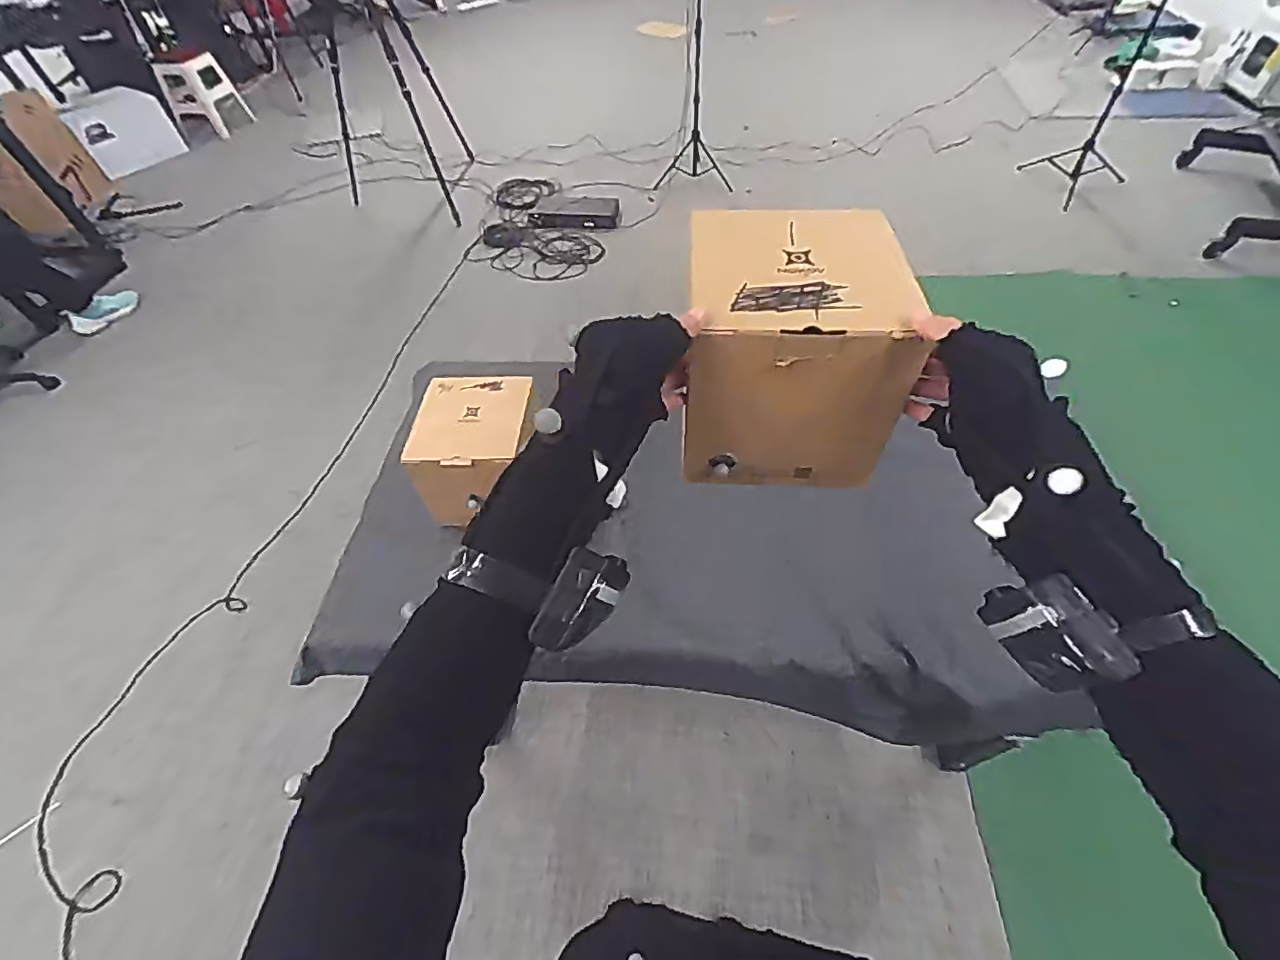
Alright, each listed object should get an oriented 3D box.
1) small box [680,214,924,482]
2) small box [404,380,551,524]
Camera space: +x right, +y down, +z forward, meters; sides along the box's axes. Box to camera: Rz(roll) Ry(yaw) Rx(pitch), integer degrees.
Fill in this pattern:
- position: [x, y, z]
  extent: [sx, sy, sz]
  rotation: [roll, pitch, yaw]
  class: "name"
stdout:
- position: [0.121, -0.113, 0.483]
  extent: [0.168, 0.176, 0.179]
  rotation: [2, 50, 4]
  class: "small box"
- position: [-0.247, -0.041, 0.875]
  extent: [0.168, 0.176, 0.179]
  rotation: [0, 53, 4]
  class: "small box"
